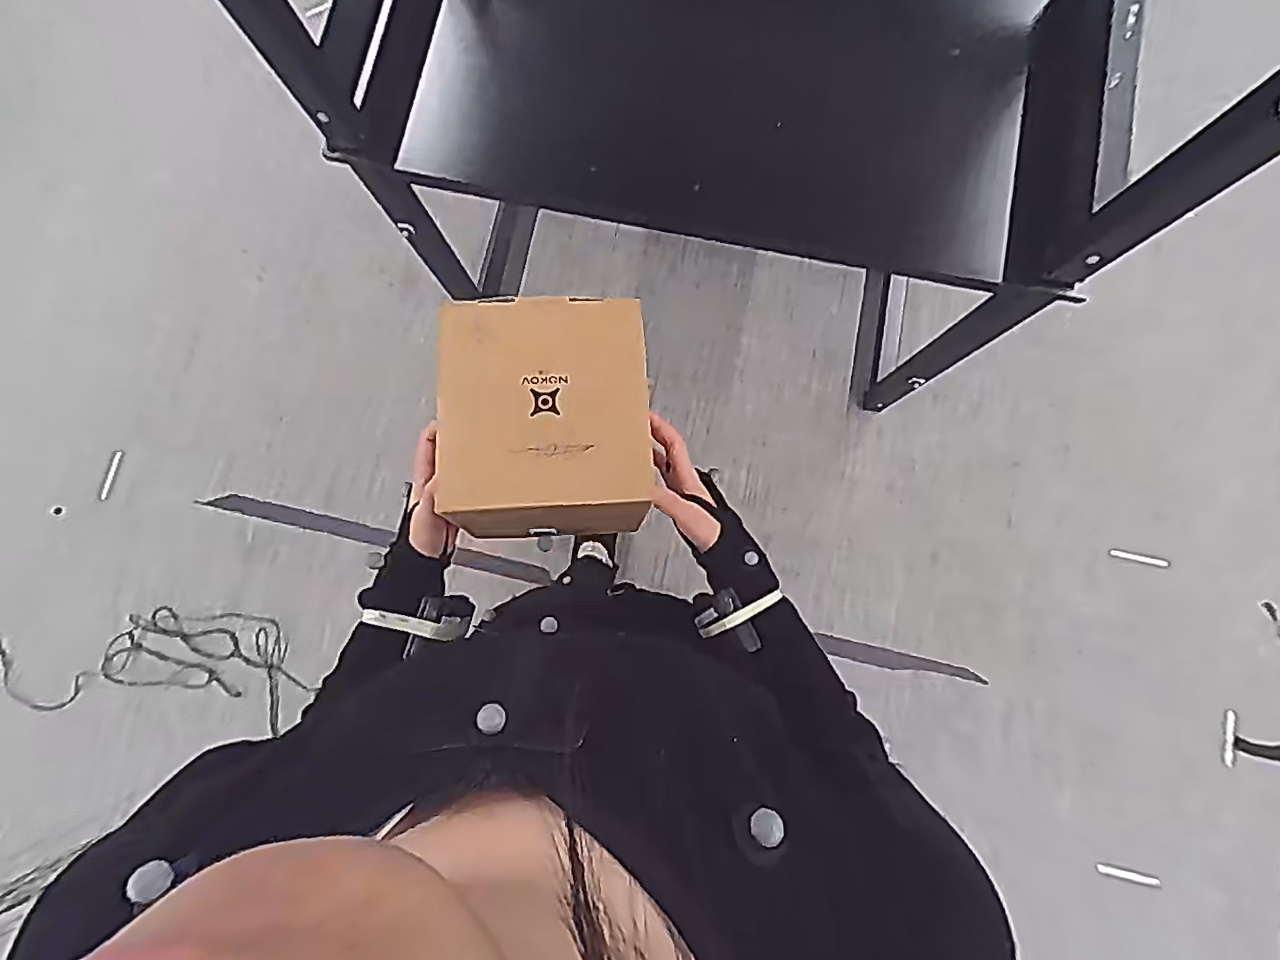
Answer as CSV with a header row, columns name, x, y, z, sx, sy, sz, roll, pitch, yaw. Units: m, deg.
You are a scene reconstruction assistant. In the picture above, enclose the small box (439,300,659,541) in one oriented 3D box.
name,x,y,z,sx,sy,sz,roll,pitch,yaw
small box,-0.078,-0.043,0.498,0.168,0.176,0.179,-3,78,-6
